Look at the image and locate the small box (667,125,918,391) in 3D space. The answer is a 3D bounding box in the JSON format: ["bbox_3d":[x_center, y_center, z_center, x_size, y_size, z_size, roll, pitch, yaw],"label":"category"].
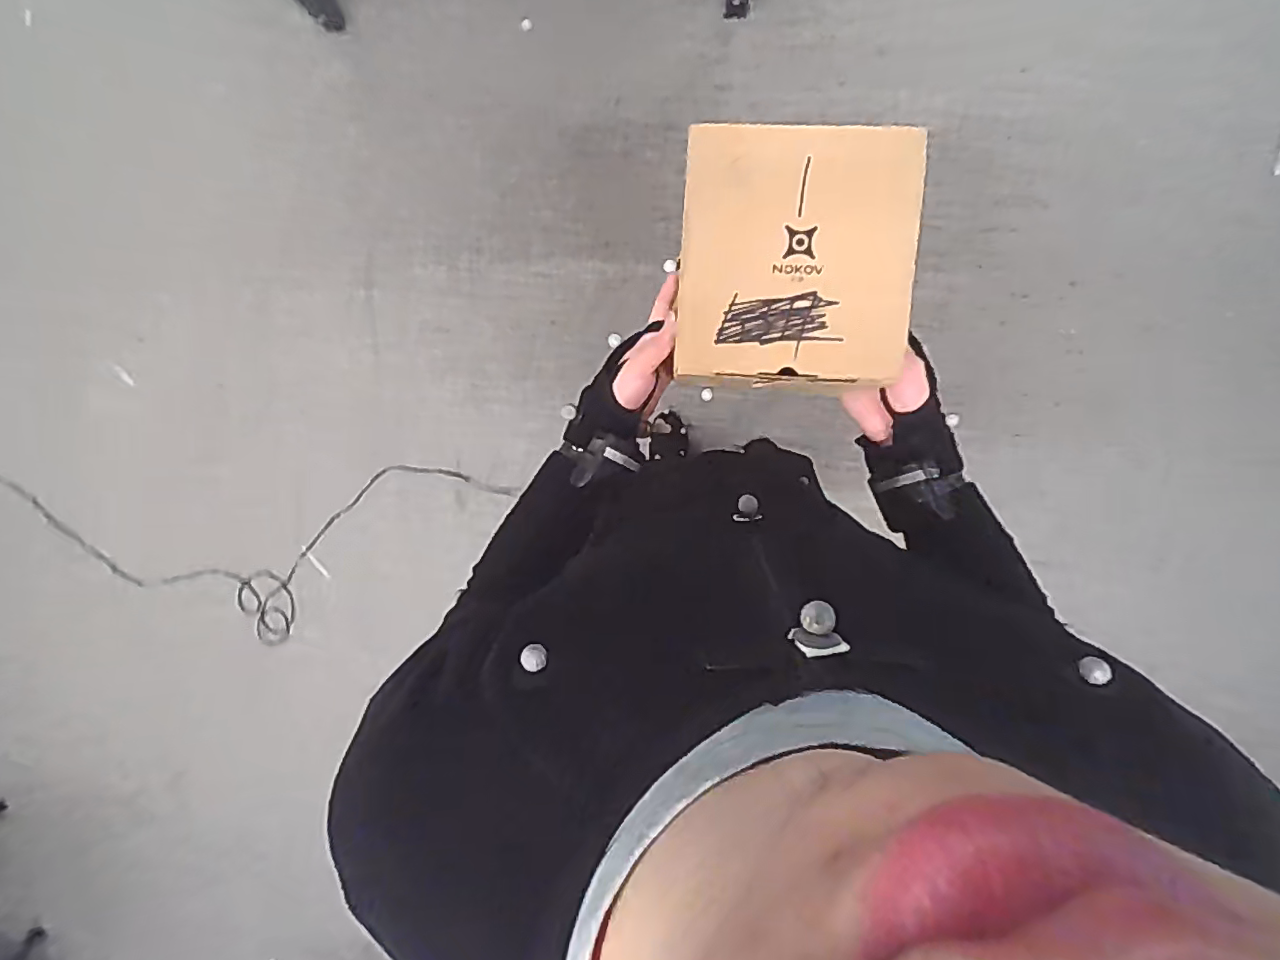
[{"bbox_3d":[0.112,-0.170,0.466,0.168,0.176,0.179,3,96,4],"label":"small box"}]
